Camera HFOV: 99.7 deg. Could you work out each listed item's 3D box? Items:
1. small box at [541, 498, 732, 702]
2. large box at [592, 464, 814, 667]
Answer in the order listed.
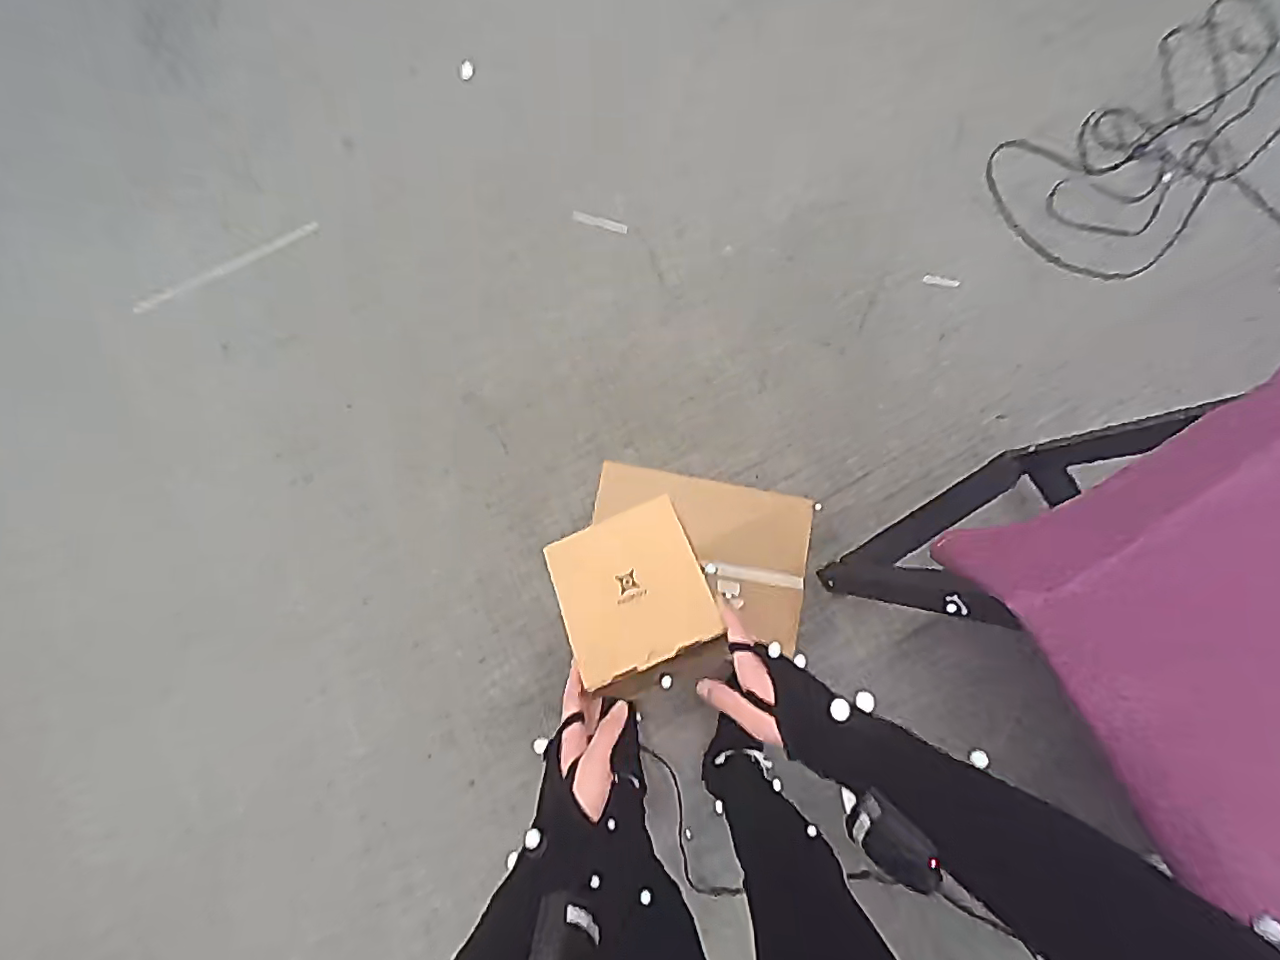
[{"bbox_3d":[0.002,0.154,0.660,0.168,0.176,0.179,-23,63,2],"label":"small box"},{"bbox_3d":[0.094,0.170,1.121,0.408,0.320,0.320,11,83,-2],"label":"large box"}]
